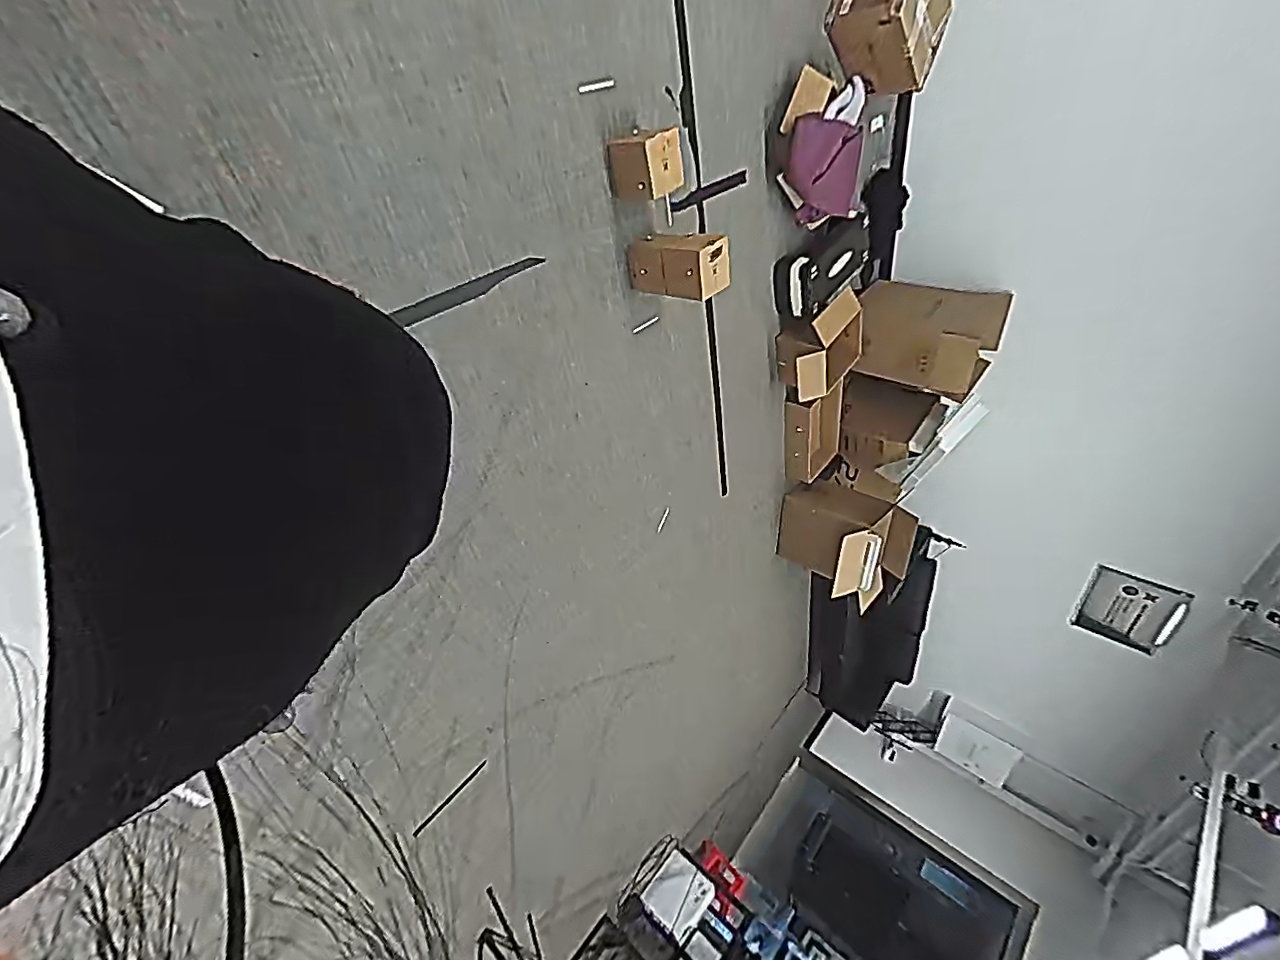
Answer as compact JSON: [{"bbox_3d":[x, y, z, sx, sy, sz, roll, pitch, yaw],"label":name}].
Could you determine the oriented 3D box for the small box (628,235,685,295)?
[{"bbox_3d":[0.070,-0.807,2.025,0.179,0.176,0.168,-37,135,-31],"label":"small box"}]

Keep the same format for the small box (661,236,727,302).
[{"bbox_3d":[0.191,-0.757,1.923,0.168,0.176,0.179,-40,137,-31],"label":"small box"}]

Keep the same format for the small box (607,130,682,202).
[{"bbox_3d":[0.015,-1.056,1.818,0.168,0.176,0.179,-42,137,-29],"label":"small box"}]
